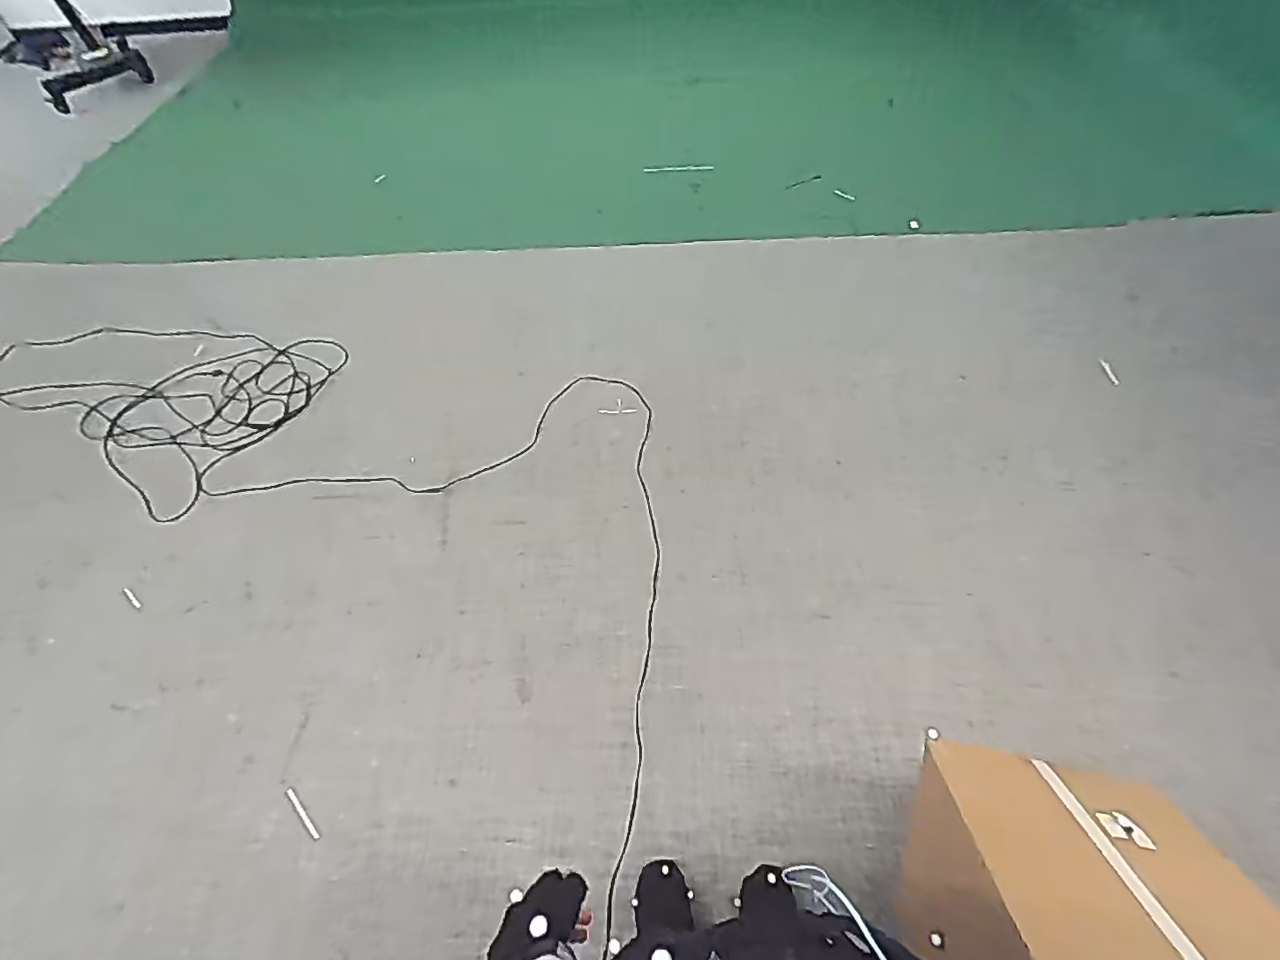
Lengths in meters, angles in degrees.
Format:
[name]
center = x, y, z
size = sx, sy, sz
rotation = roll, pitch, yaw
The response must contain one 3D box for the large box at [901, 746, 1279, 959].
[large box]
center = 0.549, 0.612, 0.665
size = 0.320, 0.408, 0.320
rotation = 9, 97, 13
